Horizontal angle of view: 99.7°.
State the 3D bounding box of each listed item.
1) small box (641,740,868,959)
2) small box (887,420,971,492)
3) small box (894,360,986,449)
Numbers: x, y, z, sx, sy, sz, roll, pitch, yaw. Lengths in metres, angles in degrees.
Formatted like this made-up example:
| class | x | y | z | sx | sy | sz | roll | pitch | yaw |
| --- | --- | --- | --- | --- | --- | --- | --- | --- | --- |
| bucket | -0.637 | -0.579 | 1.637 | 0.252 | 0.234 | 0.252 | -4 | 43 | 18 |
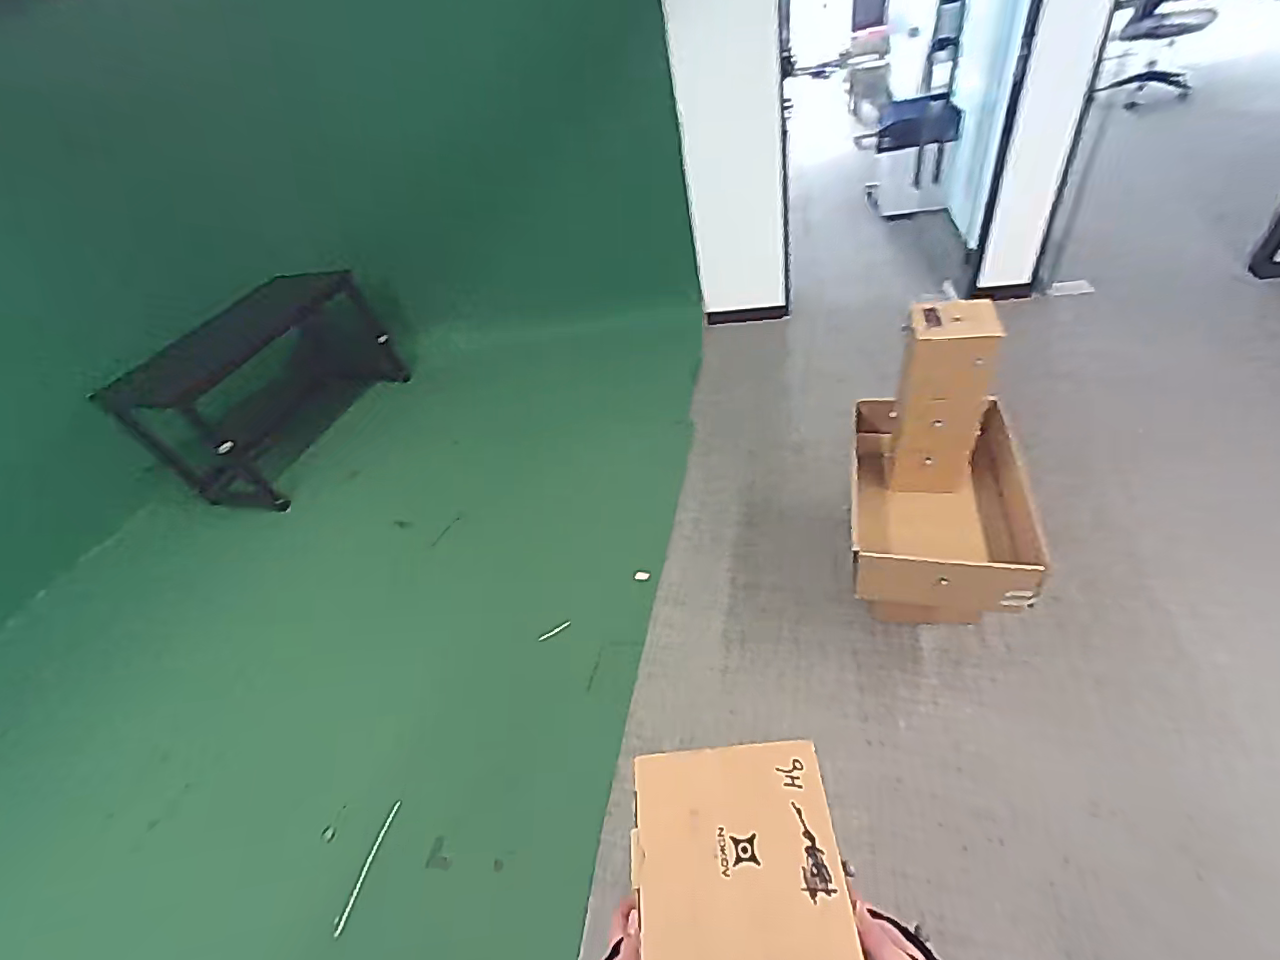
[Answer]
| class | x | y | z | sx | sy | sz | roll | pitch | yaw |
| --- | --- | --- | --- | --- | --- | --- | --- | --- | --- |
| small box | 0.101 | 0.367 | 0.526 | 0.179 | 0.176 | 0.168 | -7 | 50 | 7 |
| small box | 0.806 | -0.080 | 1.524 | 0.179 | 0.176 | 0.168 | 3 | 46 | 18 |
| small box | 0.772 | -0.193 | 1.410 | 0.179 | 0.176 | 0.168 | 1 | 45 | 18 |
